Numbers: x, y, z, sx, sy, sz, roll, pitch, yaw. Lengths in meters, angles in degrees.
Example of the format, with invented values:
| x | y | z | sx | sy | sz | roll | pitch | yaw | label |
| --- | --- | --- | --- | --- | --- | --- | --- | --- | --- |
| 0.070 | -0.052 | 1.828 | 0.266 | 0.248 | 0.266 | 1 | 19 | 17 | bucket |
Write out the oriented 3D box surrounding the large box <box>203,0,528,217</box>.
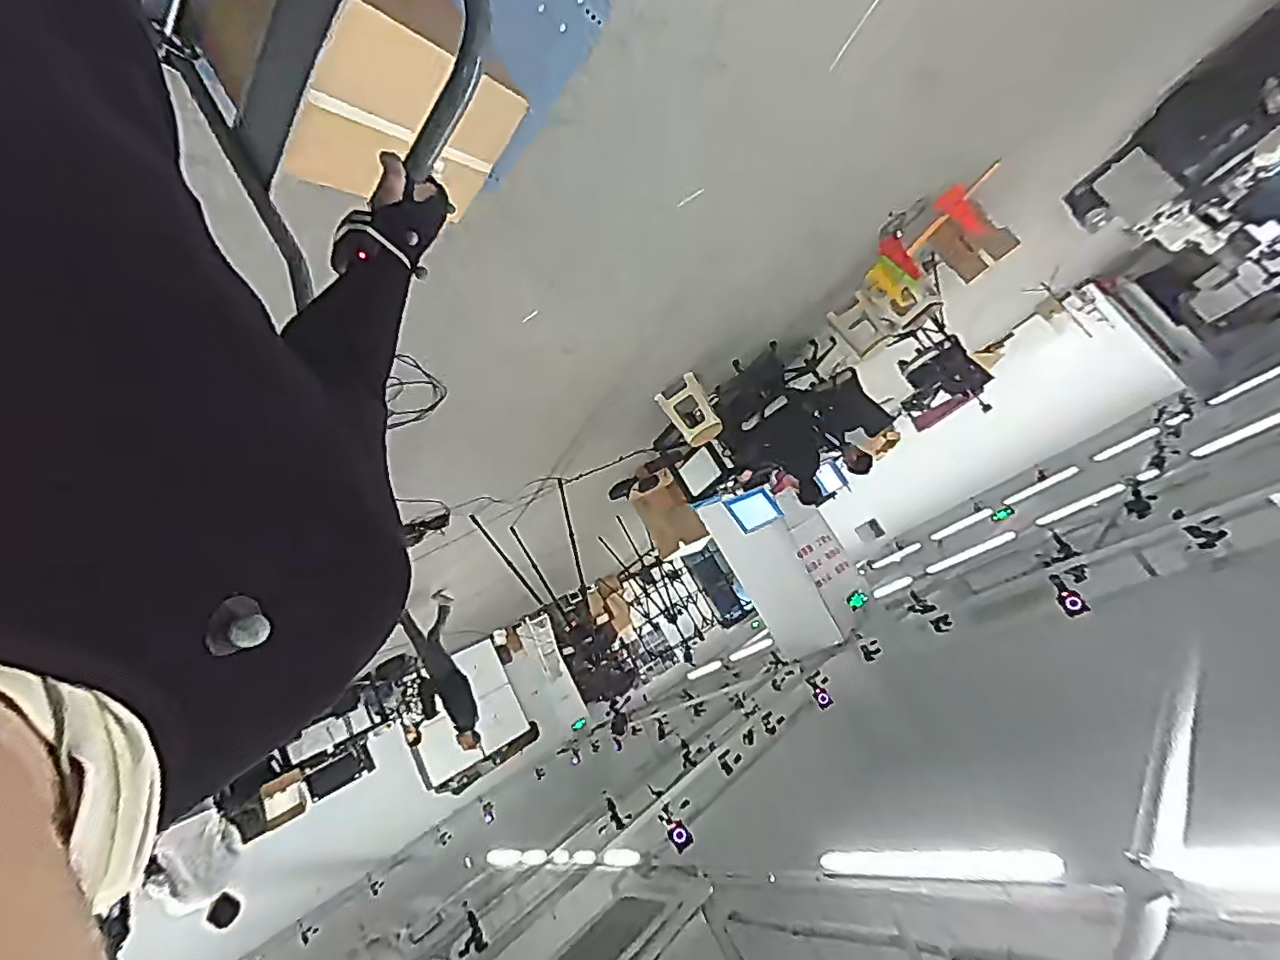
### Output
| x | y | z | sx | sy | sz | roll | pitch | yaw | label |
| --- | --- | --- | --- | --- | --- | --- | --- | --- | --- |
| -0.509 | -0.773 | 1.030 | 0.320 | 0.320 | 0.408 | -39 | 171 | 31 | large box |
